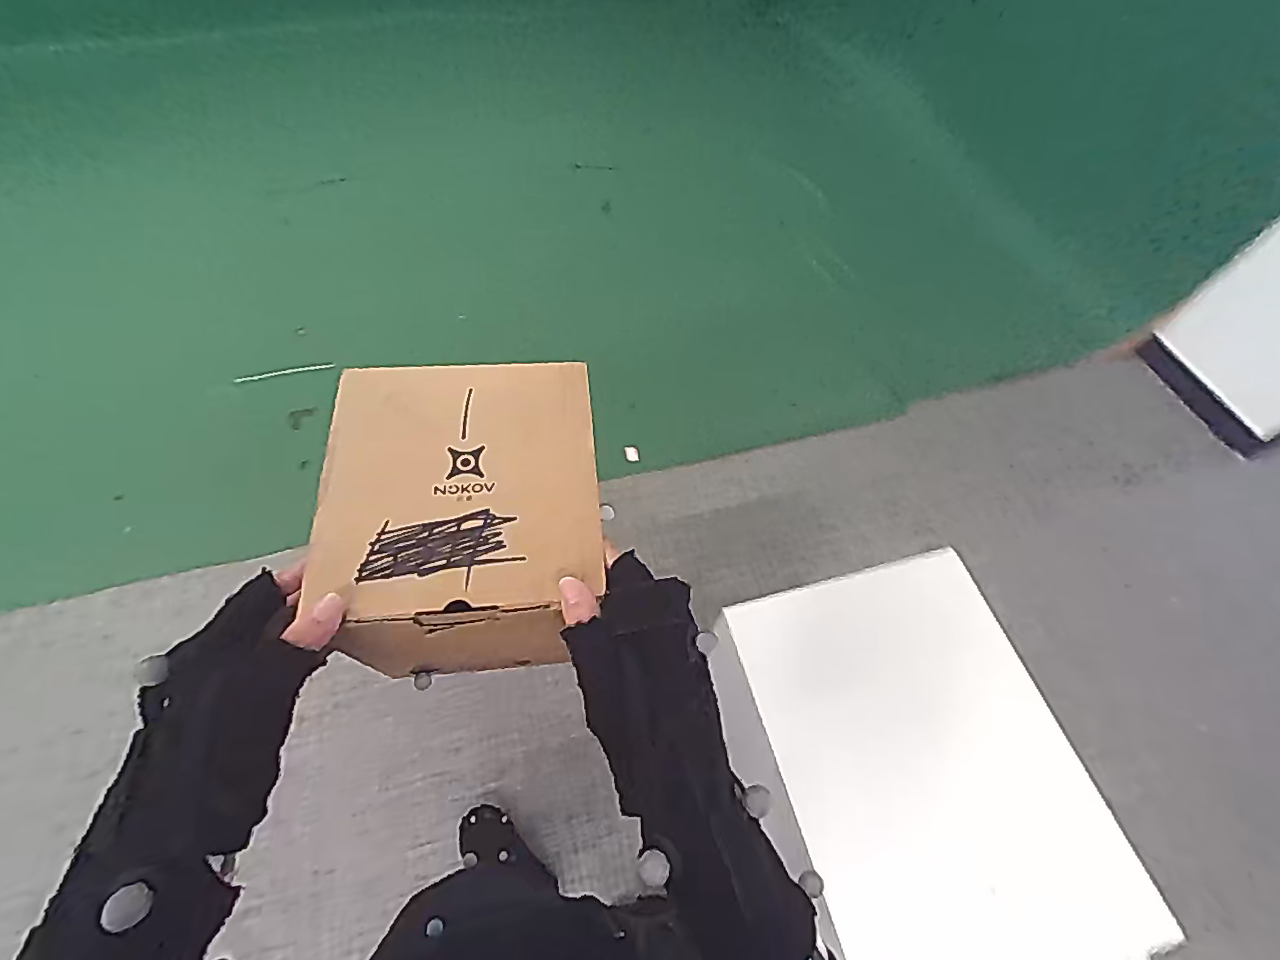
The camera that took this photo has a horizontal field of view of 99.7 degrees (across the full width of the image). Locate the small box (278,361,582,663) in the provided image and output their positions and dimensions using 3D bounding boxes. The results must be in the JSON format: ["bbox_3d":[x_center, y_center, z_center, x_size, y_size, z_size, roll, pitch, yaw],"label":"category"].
[{"bbox_3d":[-0.132,0.033,0.411,0.168,0.176,0.179,-3,60,-8],"label":"small box"}]
